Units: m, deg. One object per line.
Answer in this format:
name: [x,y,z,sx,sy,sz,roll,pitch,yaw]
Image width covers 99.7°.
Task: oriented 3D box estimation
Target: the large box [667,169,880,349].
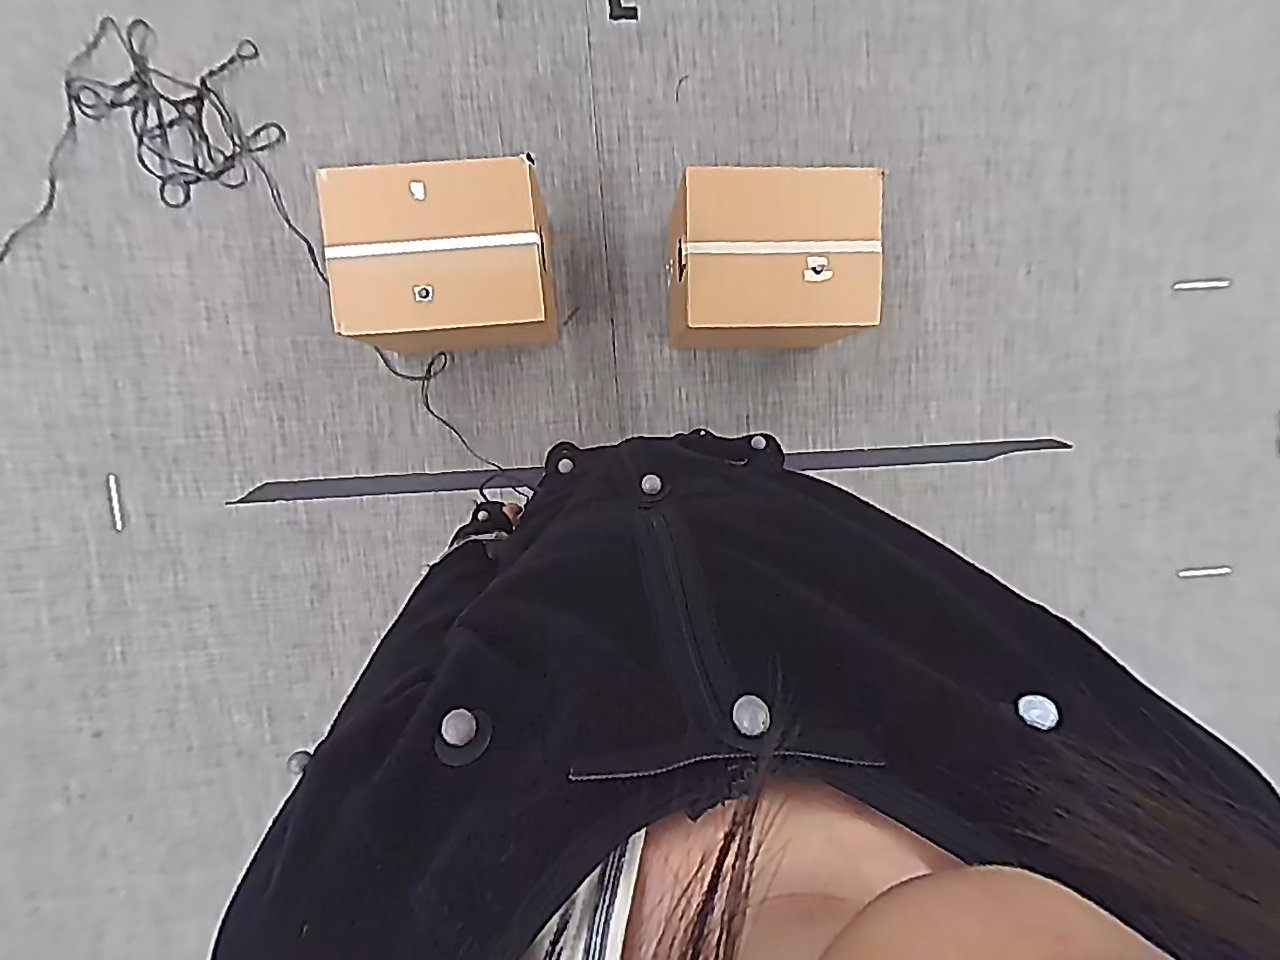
large box: [0.282,-0.487,1.250,0.408,0.320,0.320,-1,96,-4]
